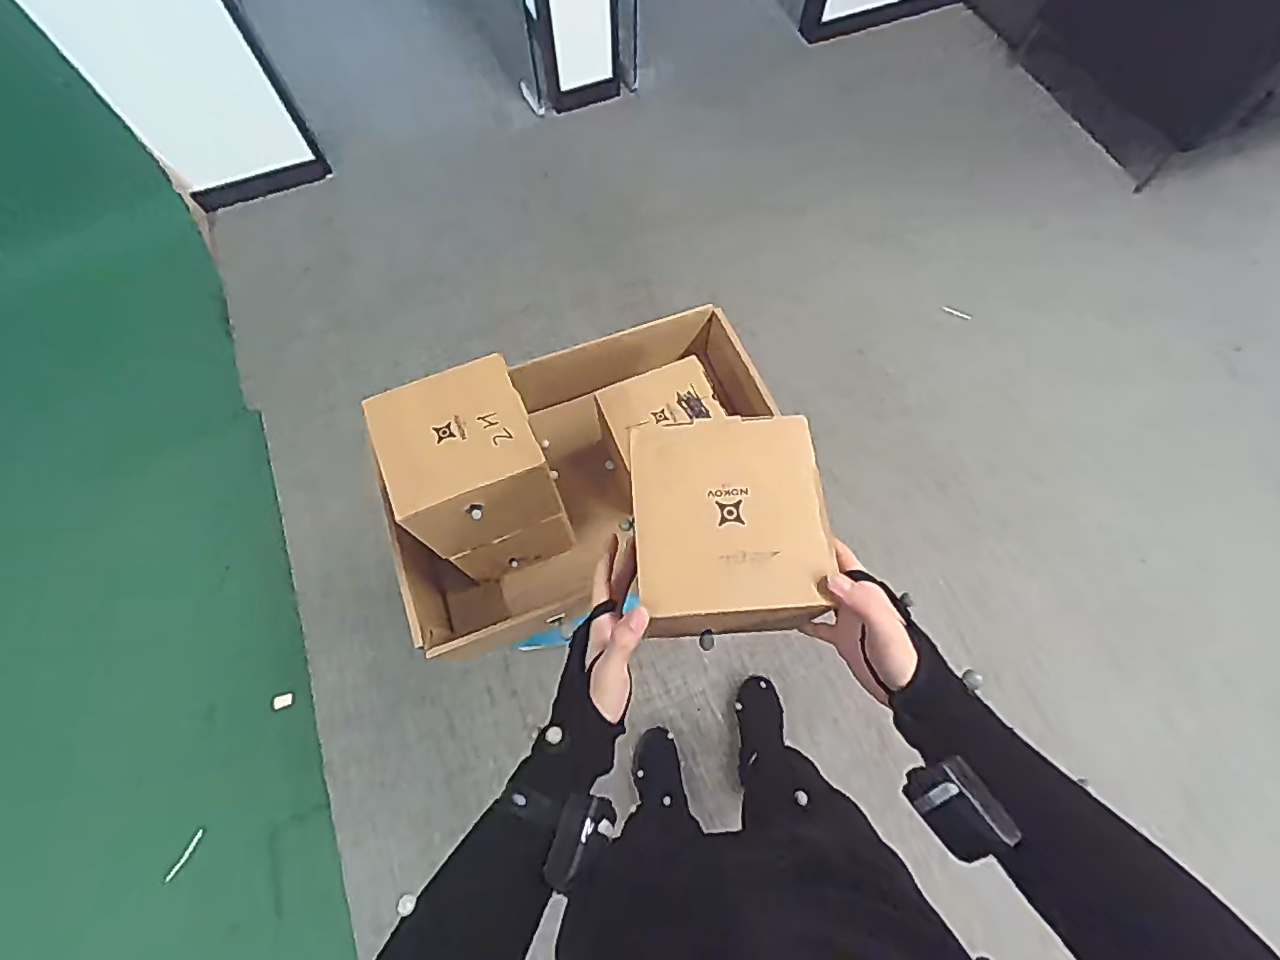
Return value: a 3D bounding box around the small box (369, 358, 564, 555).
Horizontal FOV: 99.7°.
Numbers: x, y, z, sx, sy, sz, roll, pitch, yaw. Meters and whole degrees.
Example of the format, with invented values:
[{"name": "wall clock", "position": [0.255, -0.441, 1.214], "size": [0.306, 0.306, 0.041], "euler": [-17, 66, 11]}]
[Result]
[{"name": "small box", "position": [-0.213, -0.021, 0.699], "size": [0.179, 0.176, 0.168], "euler": [-22, 69, -9]}]
